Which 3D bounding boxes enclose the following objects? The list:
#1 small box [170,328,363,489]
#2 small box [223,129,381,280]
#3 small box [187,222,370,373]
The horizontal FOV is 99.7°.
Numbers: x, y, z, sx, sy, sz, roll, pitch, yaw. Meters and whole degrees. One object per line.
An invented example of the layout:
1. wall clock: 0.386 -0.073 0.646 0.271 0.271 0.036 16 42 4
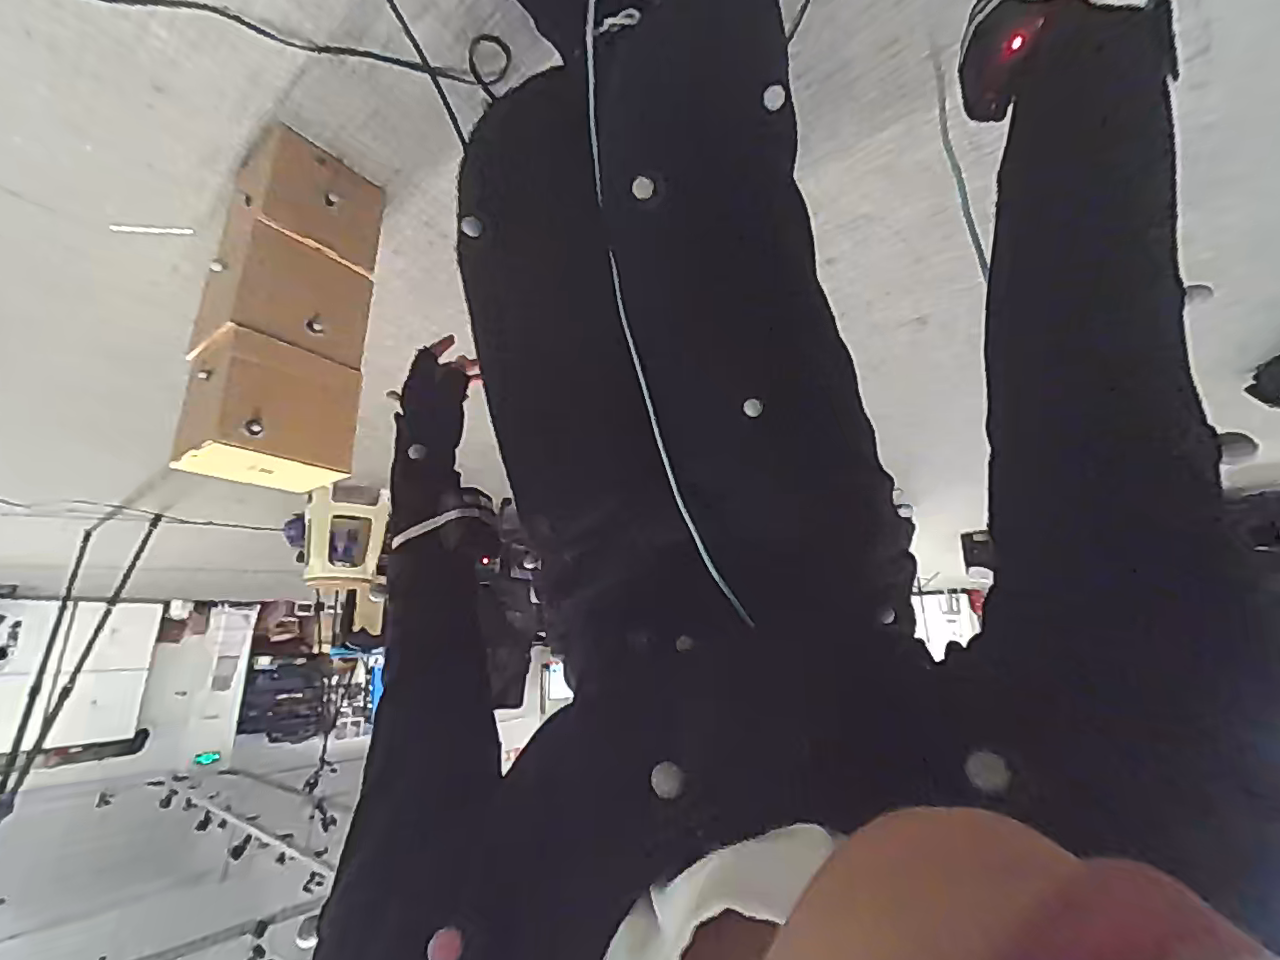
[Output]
1. small box: -0.536 -0.095 0.793 0.168 0.176 0.179 -12 160 34
2. small box: -0.542 -0.412 0.874 0.179 0.176 0.168 -13 160 34
3. small box: -0.545 -0.253 0.831 0.168 0.176 0.179 -12 160 33
